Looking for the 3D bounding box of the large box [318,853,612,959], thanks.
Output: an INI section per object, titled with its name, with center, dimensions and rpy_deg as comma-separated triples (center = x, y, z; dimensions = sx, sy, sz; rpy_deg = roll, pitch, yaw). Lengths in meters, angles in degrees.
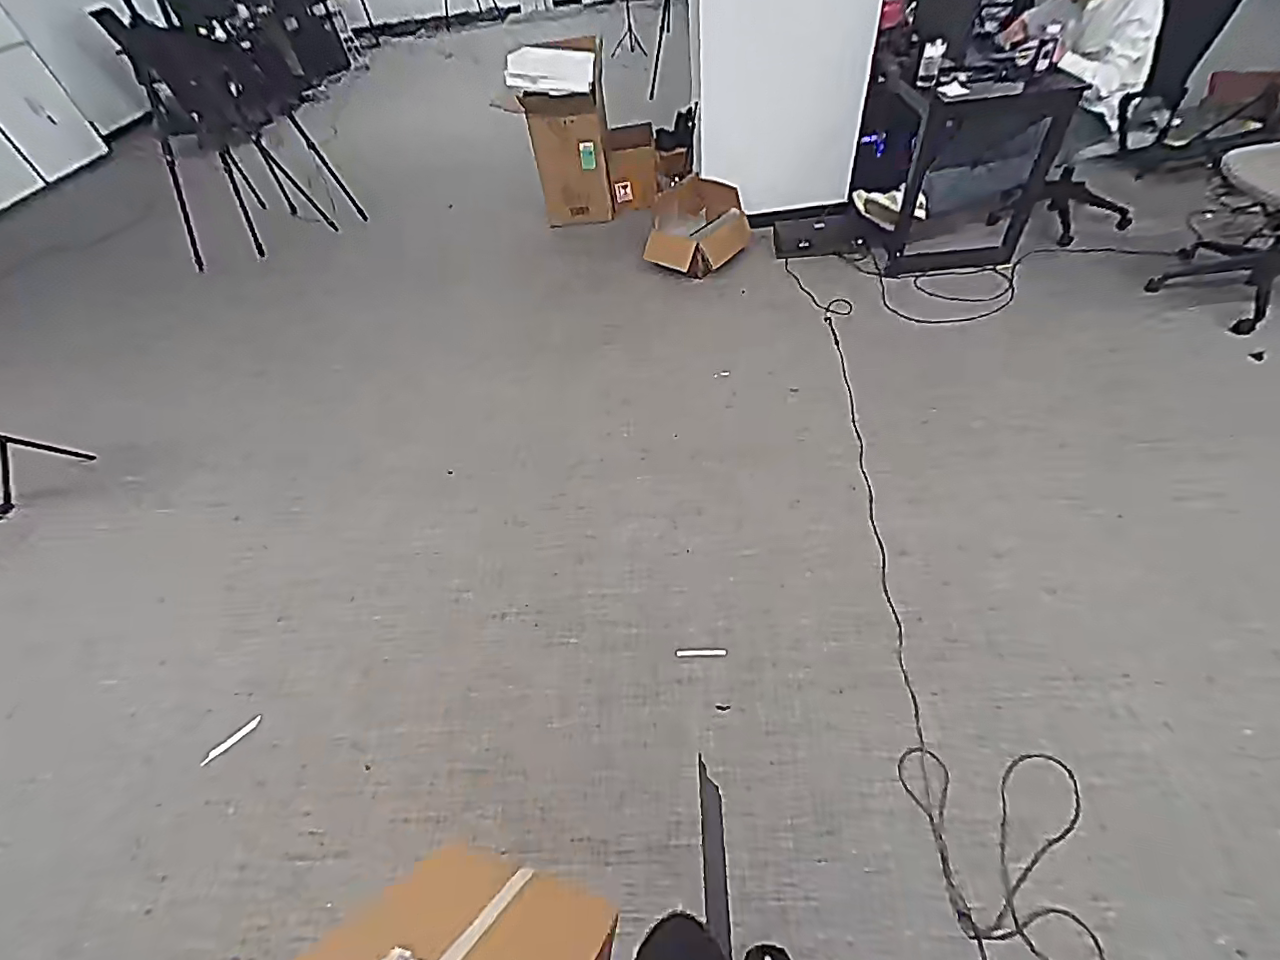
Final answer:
[large box]
center = -0.261, 0.770, 0.674
dimensions = 0.320, 0.408, 0.320
rpy_deg = 7, 82, 17
